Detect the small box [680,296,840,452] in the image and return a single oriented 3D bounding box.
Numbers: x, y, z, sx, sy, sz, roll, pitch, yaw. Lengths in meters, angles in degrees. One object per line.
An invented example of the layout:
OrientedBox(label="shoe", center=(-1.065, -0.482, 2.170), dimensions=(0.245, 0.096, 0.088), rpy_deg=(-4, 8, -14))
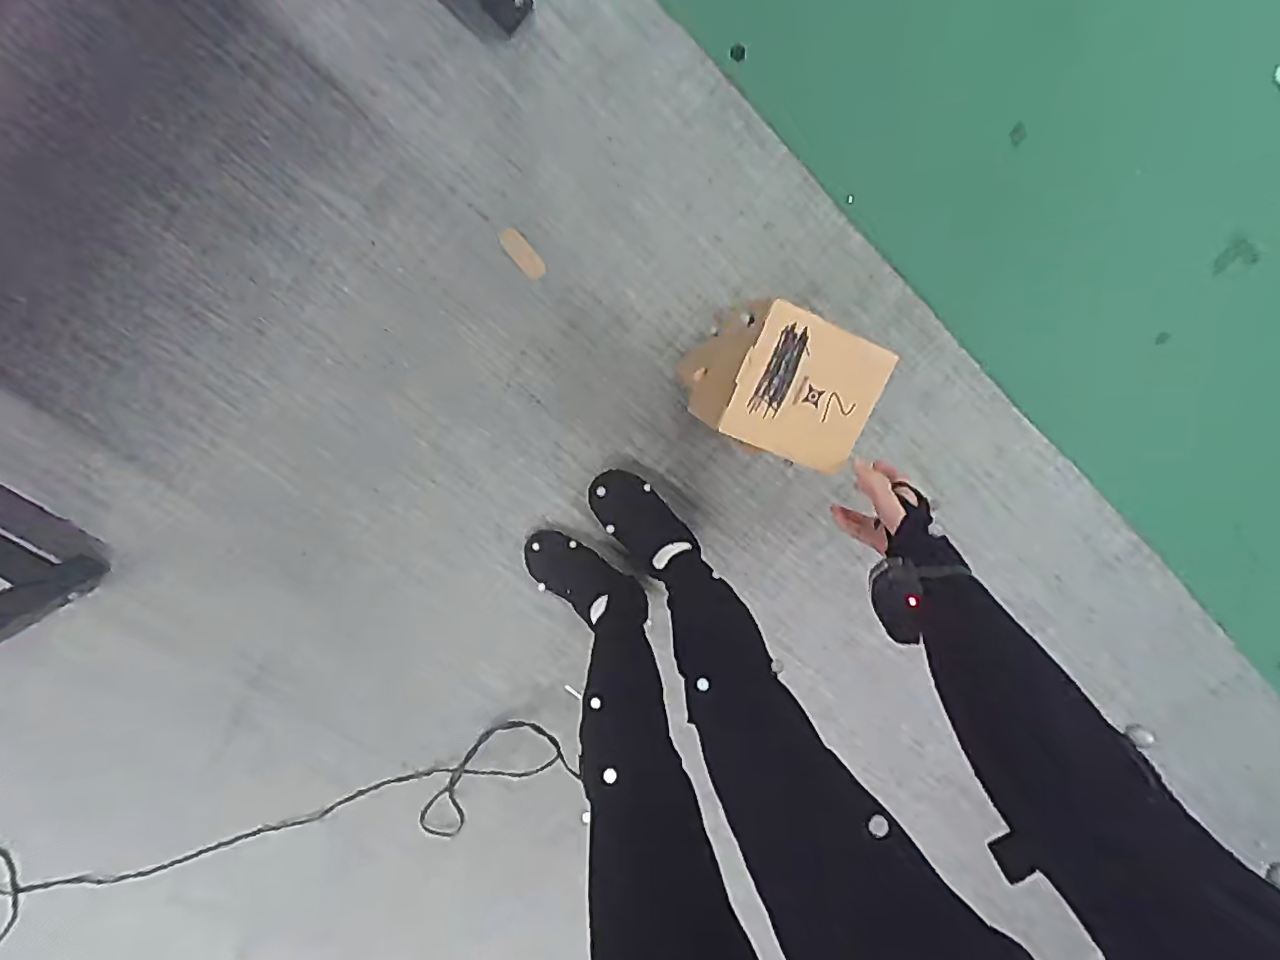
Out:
OrientedBox(label="small box", center=(0.179, -0.175, 0.877), dimensions=(0.179, 0.176, 0.168), rpy_deg=(-38, 108, 6))
